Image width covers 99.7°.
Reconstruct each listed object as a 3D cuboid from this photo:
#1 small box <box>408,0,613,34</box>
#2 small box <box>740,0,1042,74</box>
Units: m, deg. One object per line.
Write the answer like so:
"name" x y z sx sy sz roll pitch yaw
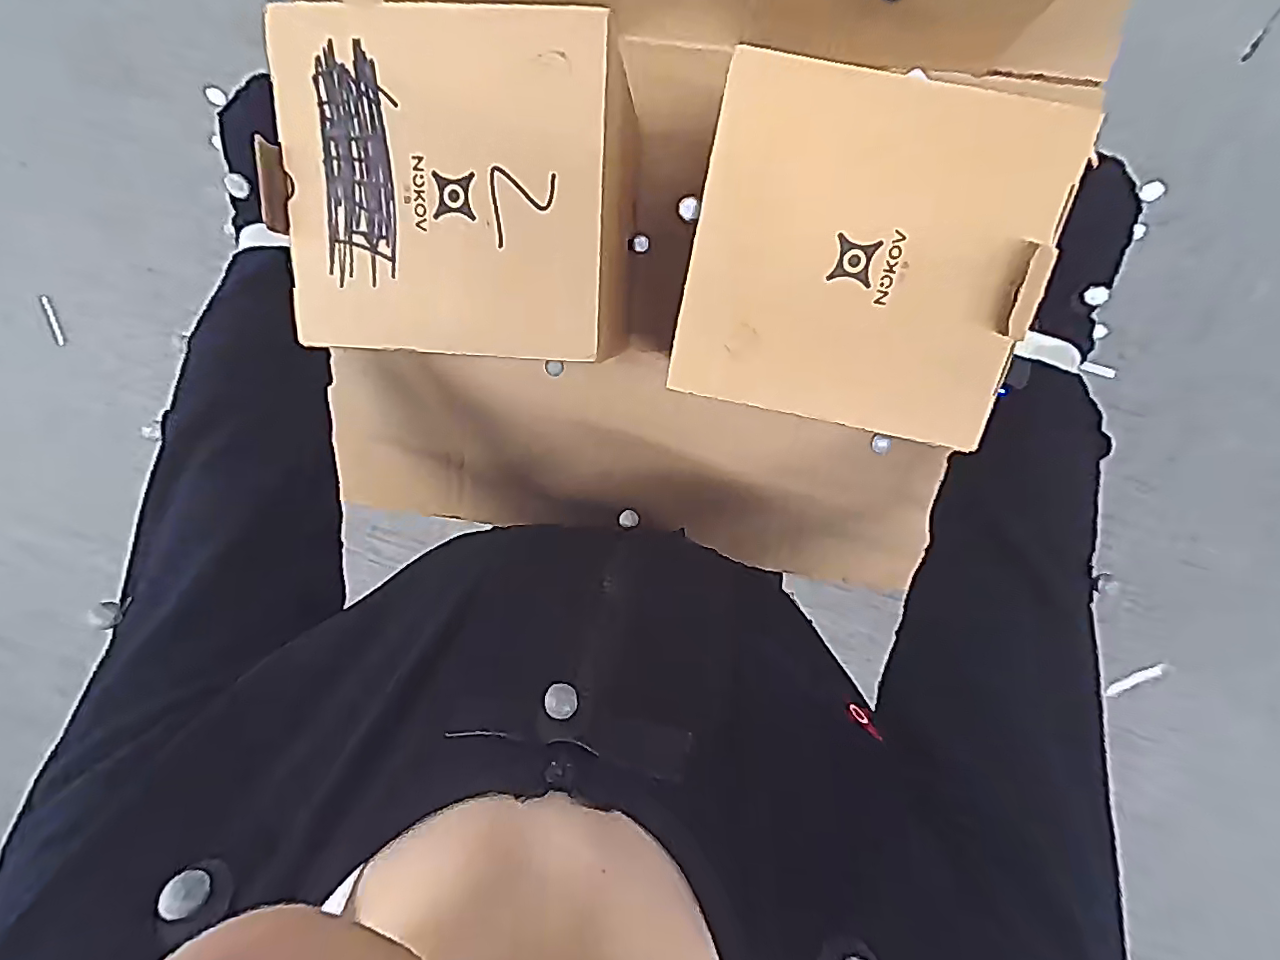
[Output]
"small box" -0.098 -0.407 0.313 0.168 0.176 0.179 8 100 3
"small box" 0.160 -0.362 0.298 0.179 0.176 0.168 9 101 4
